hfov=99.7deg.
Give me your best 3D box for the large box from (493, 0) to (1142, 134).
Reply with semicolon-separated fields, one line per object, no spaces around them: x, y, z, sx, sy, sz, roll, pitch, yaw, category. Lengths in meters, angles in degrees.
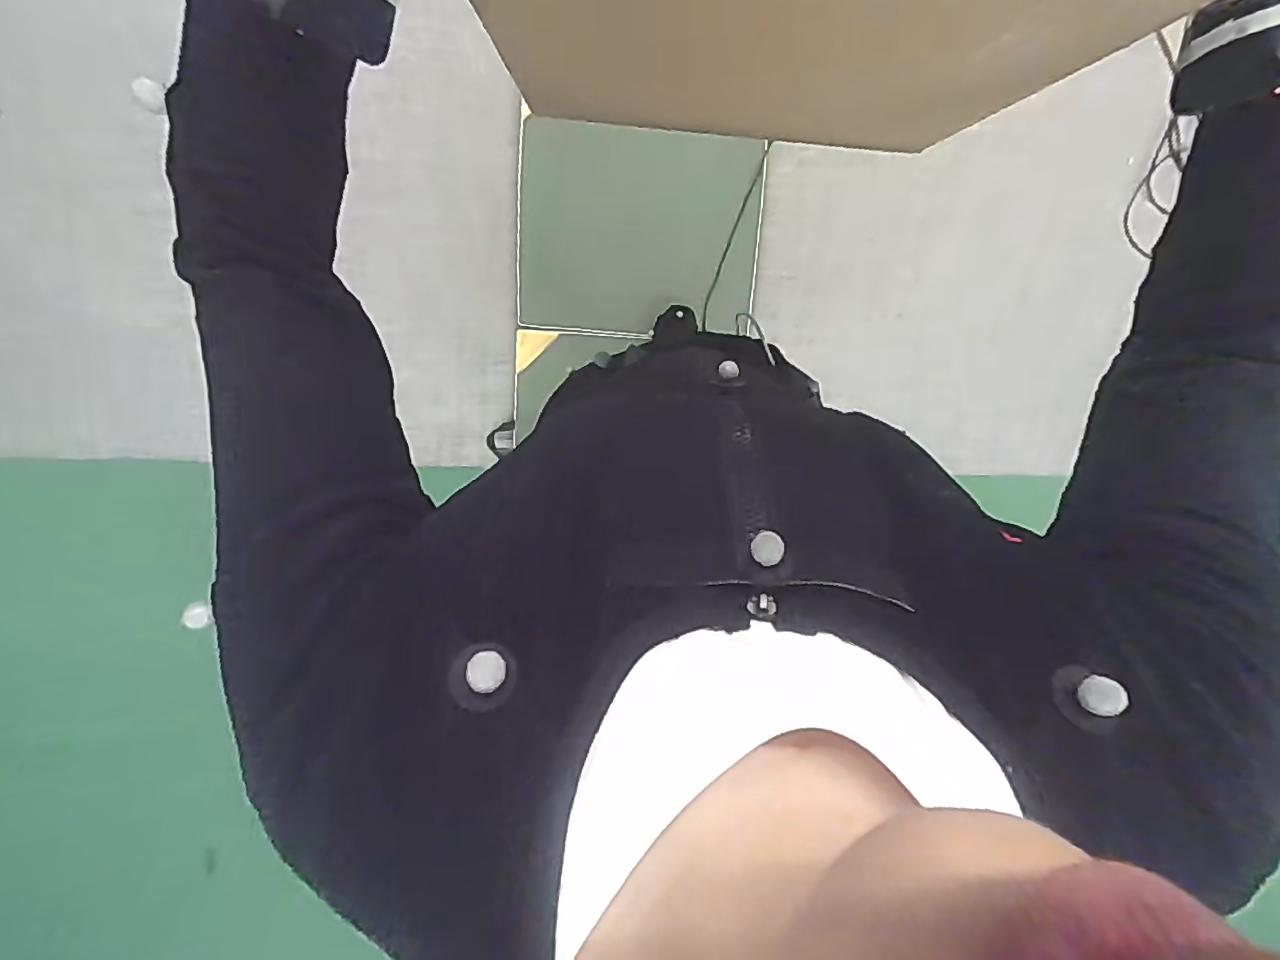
0.103;-0.462;0.363;0.408;0.320;0.320;3;109;-3;large box
